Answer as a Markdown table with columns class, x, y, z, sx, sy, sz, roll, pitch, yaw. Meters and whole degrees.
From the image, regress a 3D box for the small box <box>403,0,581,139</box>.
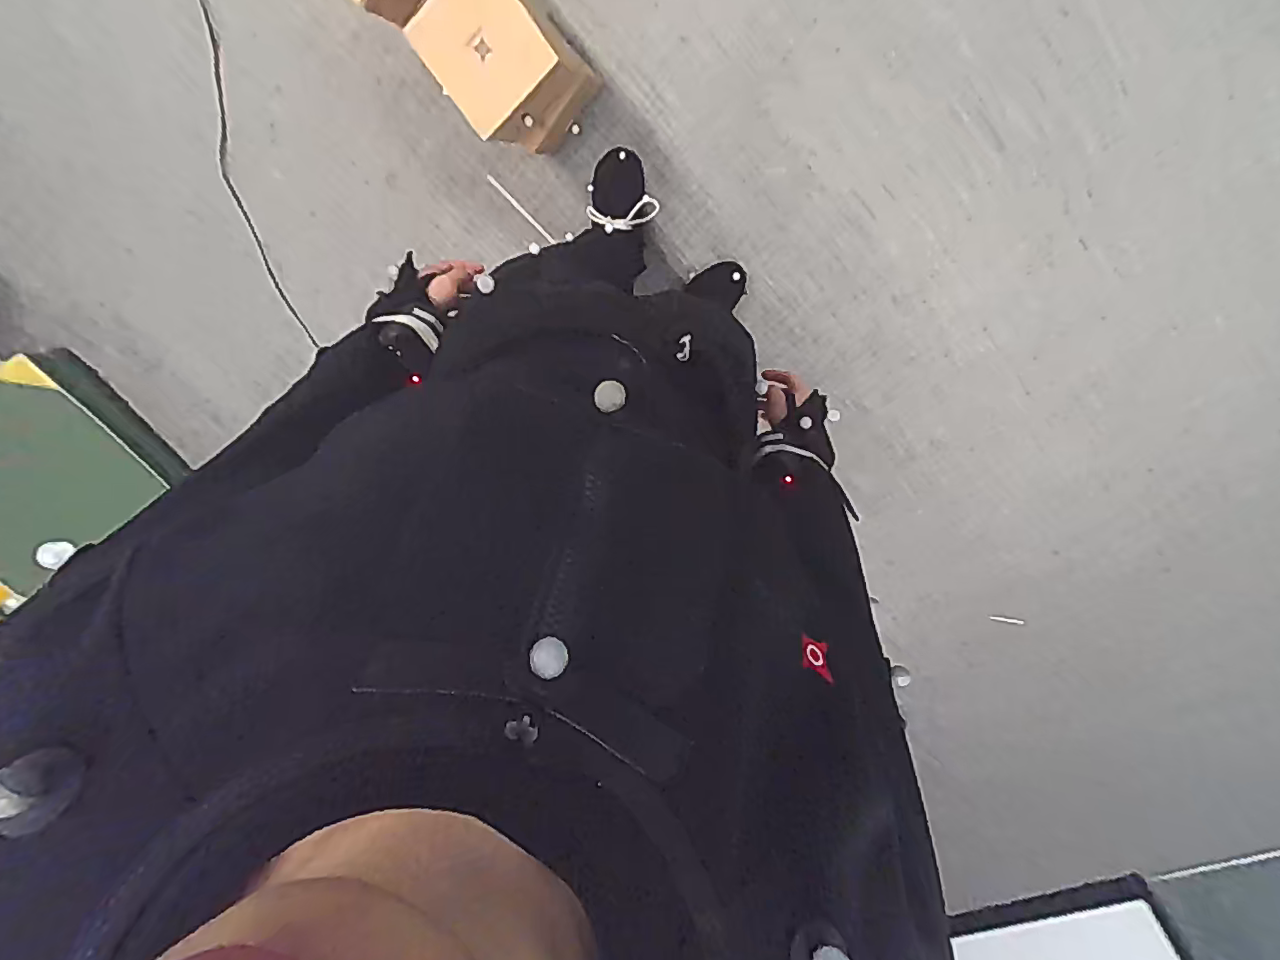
| class | x | y | z | sx | sy | sz | roll | pitch | yaw |
| --- | --- | --- | --- | --- | --- | --- | --- | --- | --- |
| small box | -0.217 | -0.670 | 0.843 | 0.168 | 0.176 | 0.179 | -31 | 111 | 24 |
